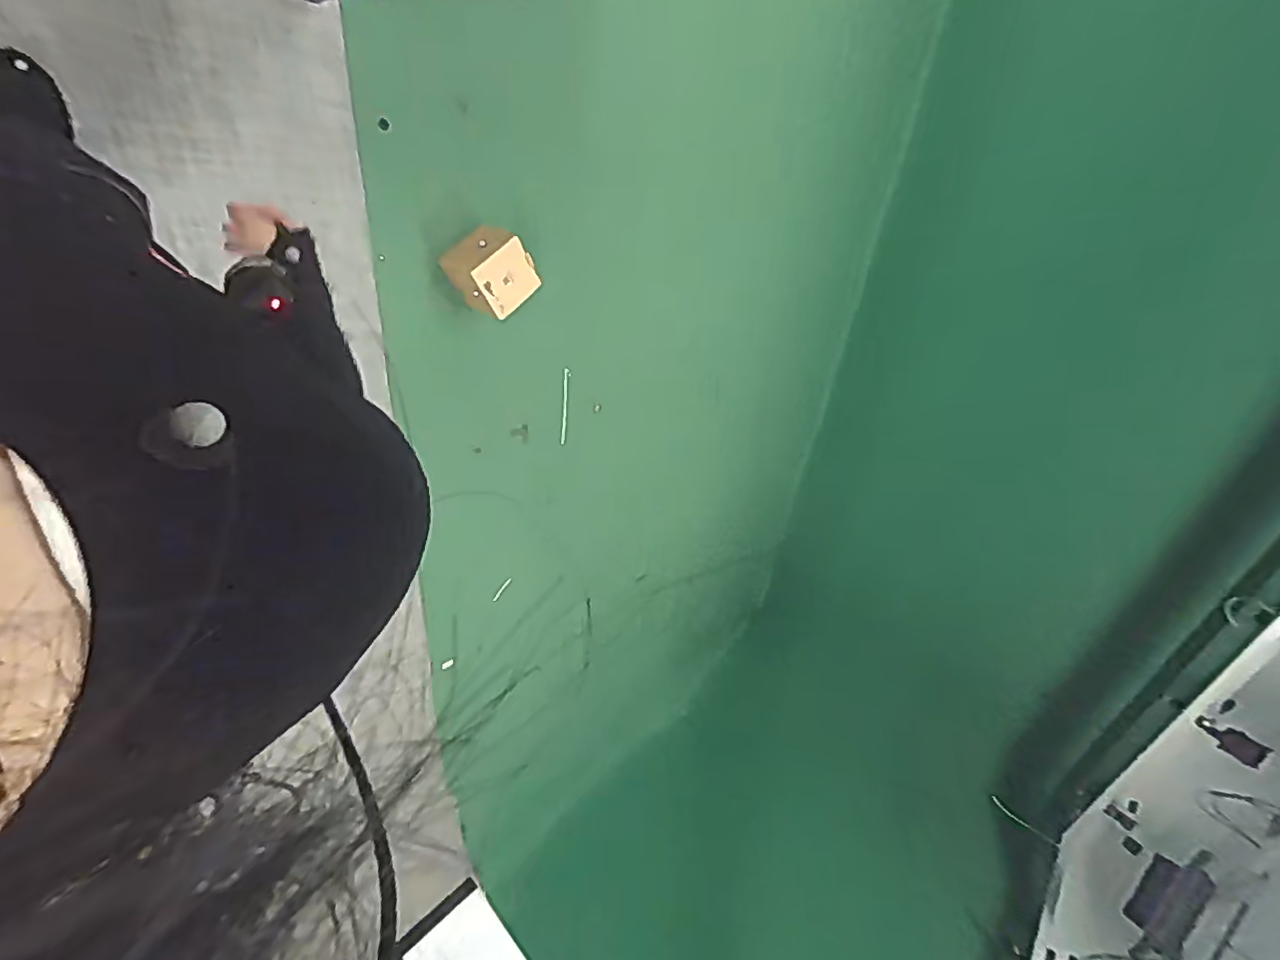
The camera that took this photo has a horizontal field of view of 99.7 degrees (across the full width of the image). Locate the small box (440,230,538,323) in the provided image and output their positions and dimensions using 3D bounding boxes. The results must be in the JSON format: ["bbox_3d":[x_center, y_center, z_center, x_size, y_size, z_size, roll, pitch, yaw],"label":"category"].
[{"bbox_3d":[-0.431,-0.585,1.541,0.179,0.176,0.168,-49,145,-16],"label":"small box"}]
